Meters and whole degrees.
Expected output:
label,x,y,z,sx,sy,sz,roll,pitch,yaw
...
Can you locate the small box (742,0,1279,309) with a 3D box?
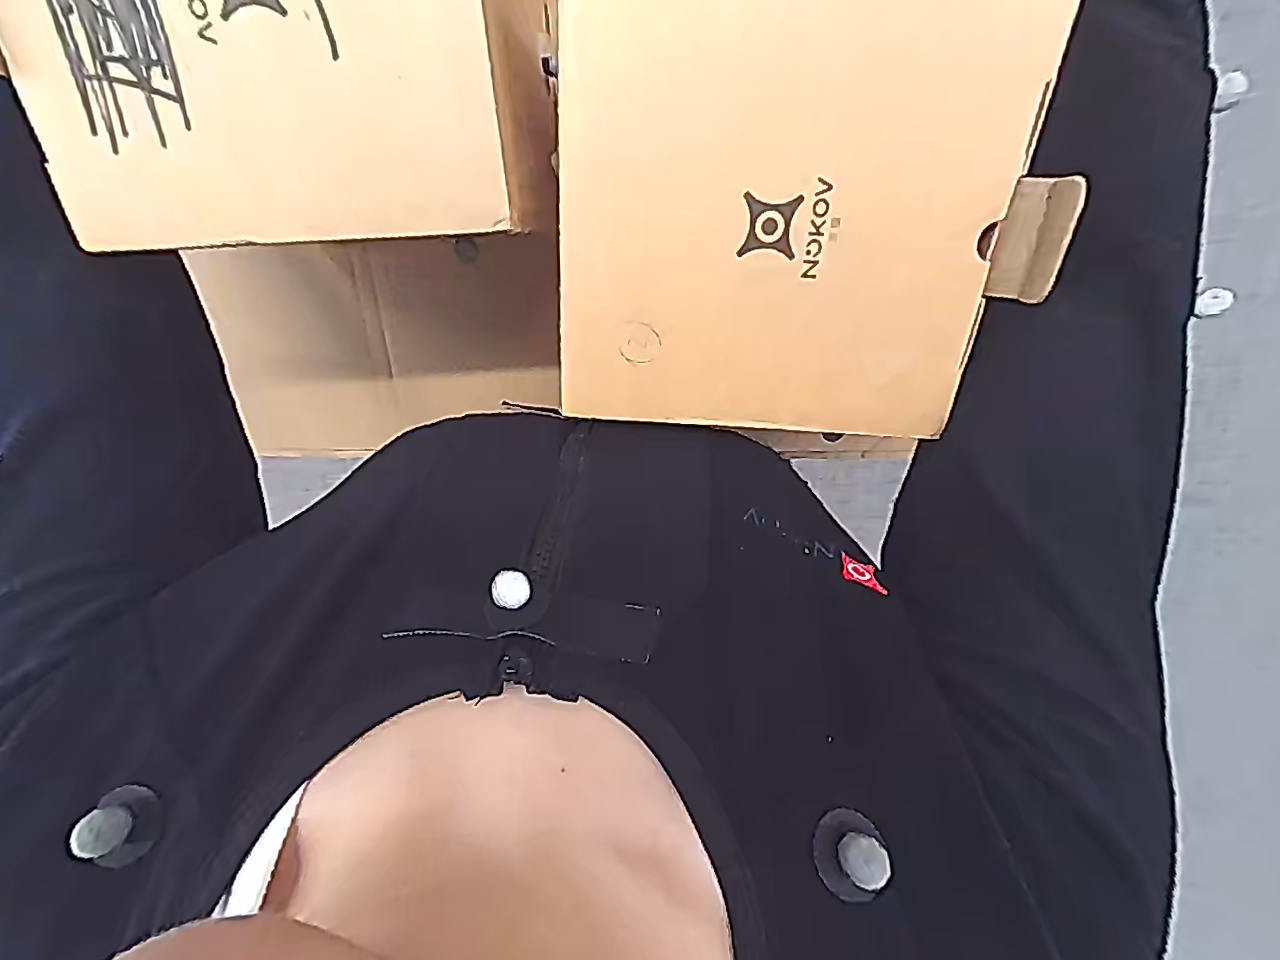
label,x,y,z,sx,sy,sz,roll,pitch,yaw
small box,0.160,-0.192,0.236,0.179,0.176,0.168,15,121,-6
